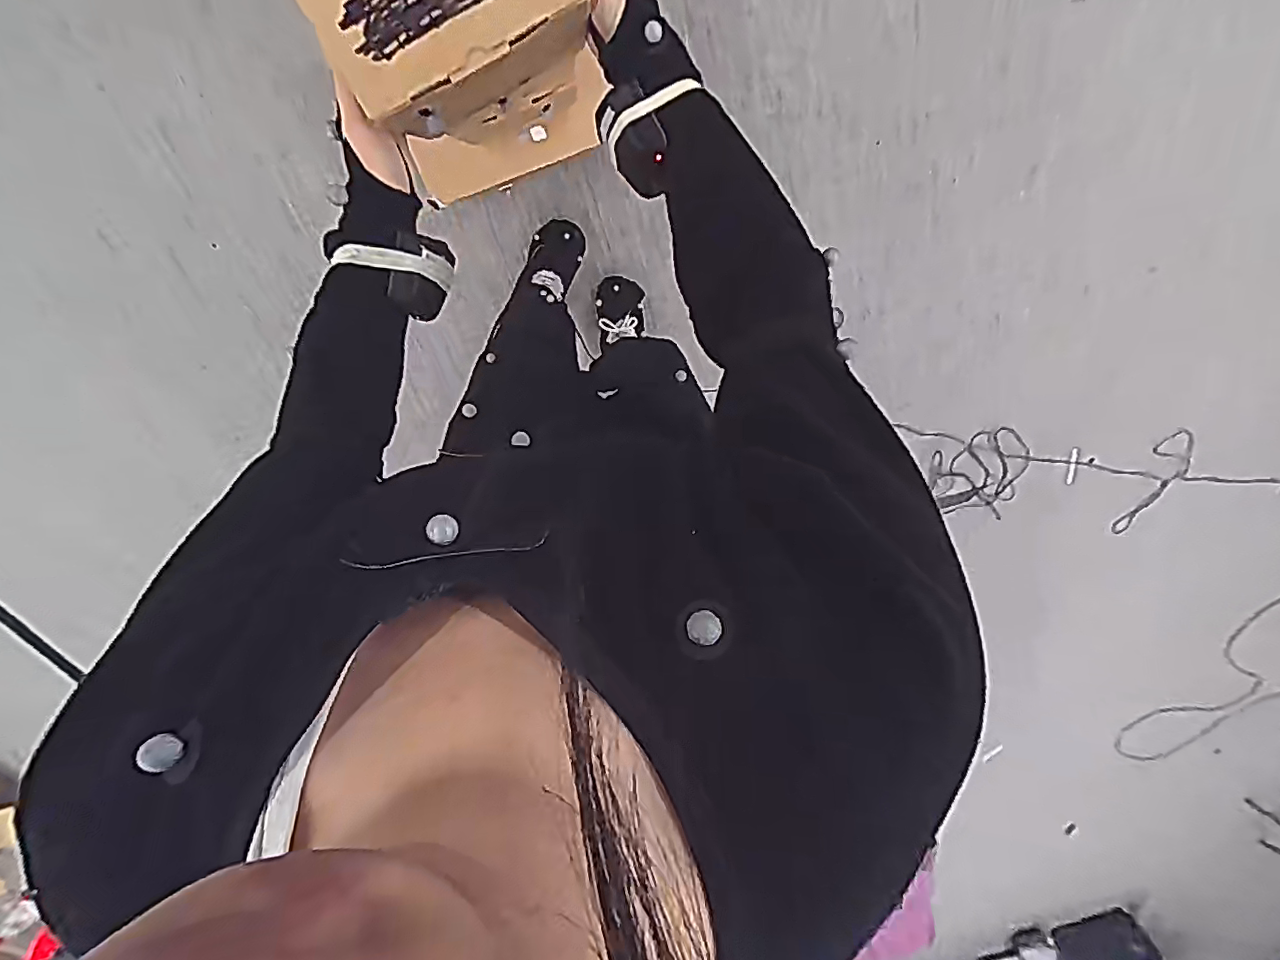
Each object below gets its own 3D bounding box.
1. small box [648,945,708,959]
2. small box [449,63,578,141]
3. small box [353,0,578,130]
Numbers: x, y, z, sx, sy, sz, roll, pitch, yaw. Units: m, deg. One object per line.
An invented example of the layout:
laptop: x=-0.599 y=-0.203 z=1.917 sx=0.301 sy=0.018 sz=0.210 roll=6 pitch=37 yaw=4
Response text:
small box: x=0.127 y=1.482 z=1.559 sx=0.168 sy=0.176 sz=0.179 roll=-17 pitch=121 yaw=2
small box: x=-0.182 y=-0.538 z=0.661 sx=0.168 sy=0.176 sz=0.179 roll=-21 pitch=118 yaw=3
small box: x=-0.169 y=-0.461 z=0.516 sx=0.168 sy=0.176 sz=0.179 roll=-25 pitch=119 yaw=5
